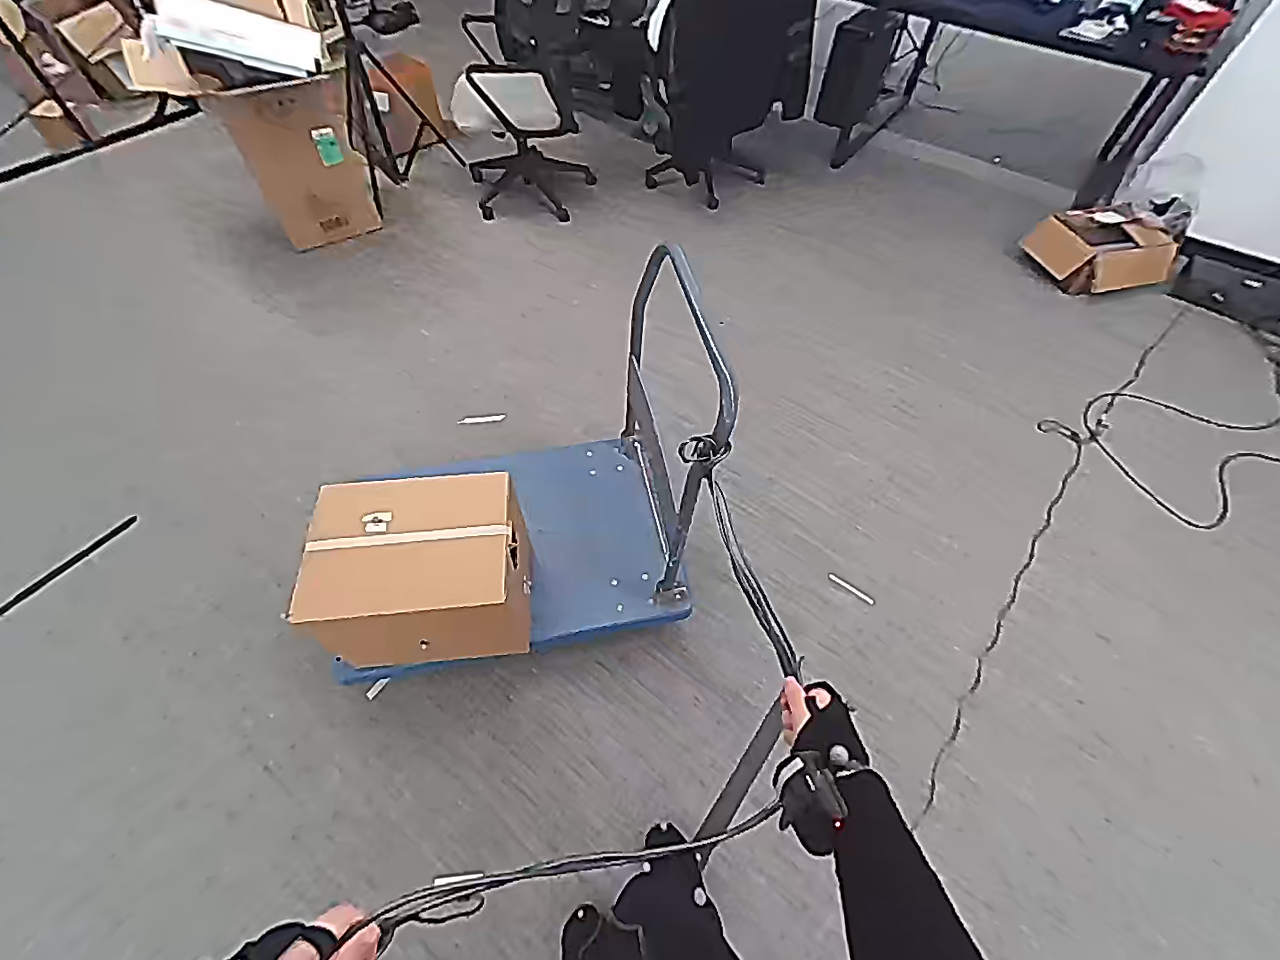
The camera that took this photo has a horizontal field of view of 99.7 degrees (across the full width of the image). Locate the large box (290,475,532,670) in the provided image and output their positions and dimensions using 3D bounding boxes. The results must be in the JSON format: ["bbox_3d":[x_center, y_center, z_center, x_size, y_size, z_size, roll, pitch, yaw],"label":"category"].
[{"bbox_3d":[-0.468,0.216,1.217,0.408,0.320,0.320,-5,55,-4],"label":"large box"}]
